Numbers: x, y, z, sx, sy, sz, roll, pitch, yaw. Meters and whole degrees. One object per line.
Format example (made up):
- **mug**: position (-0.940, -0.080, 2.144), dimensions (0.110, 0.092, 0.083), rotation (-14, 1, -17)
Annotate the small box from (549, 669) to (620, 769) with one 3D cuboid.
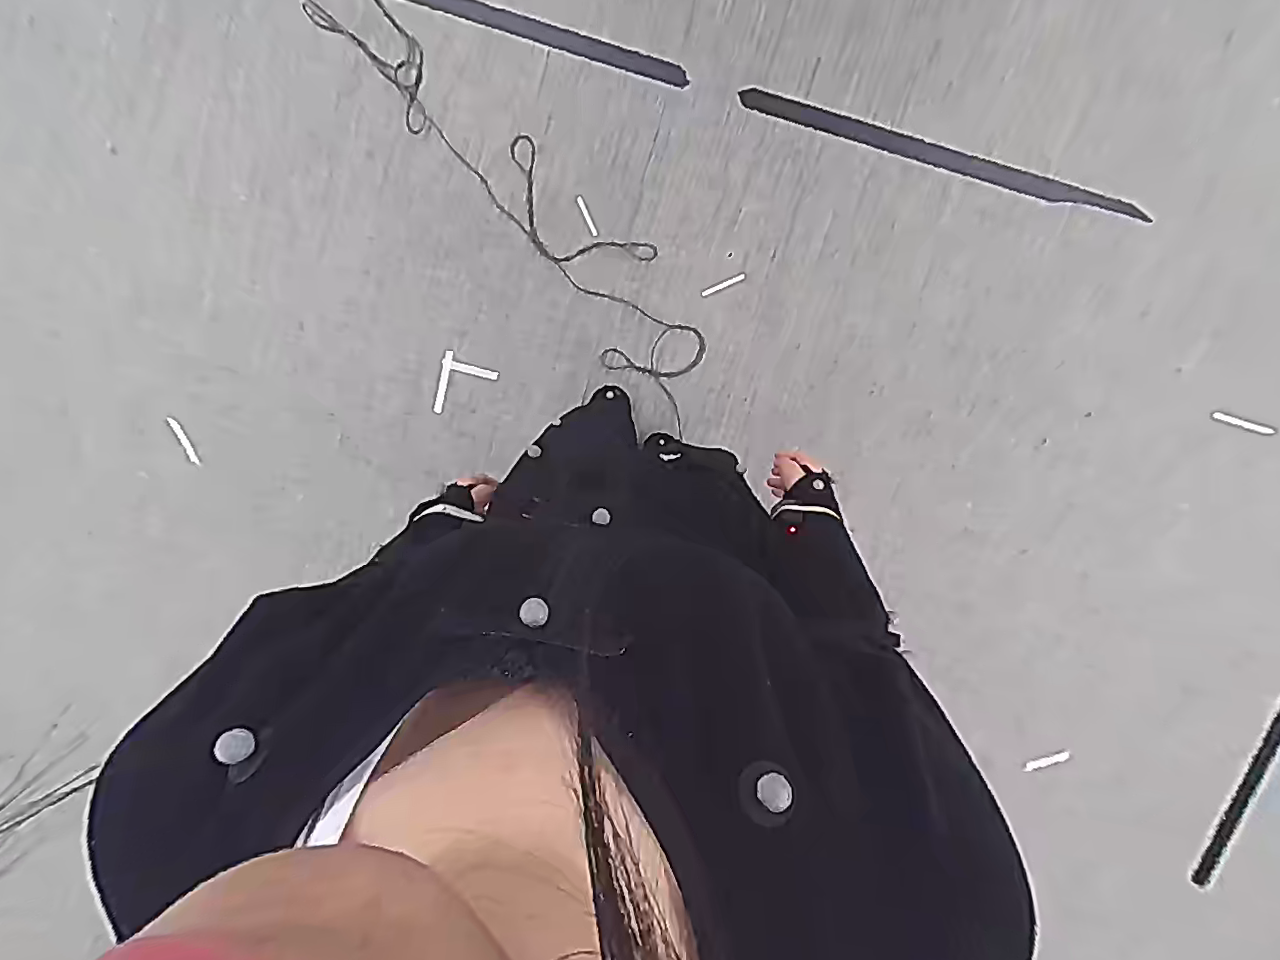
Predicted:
- **small box**: position (-0.142, 0.644, 1.473), dimensions (0.168, 0.176, 0.179), rotation (8, 97, 1)
